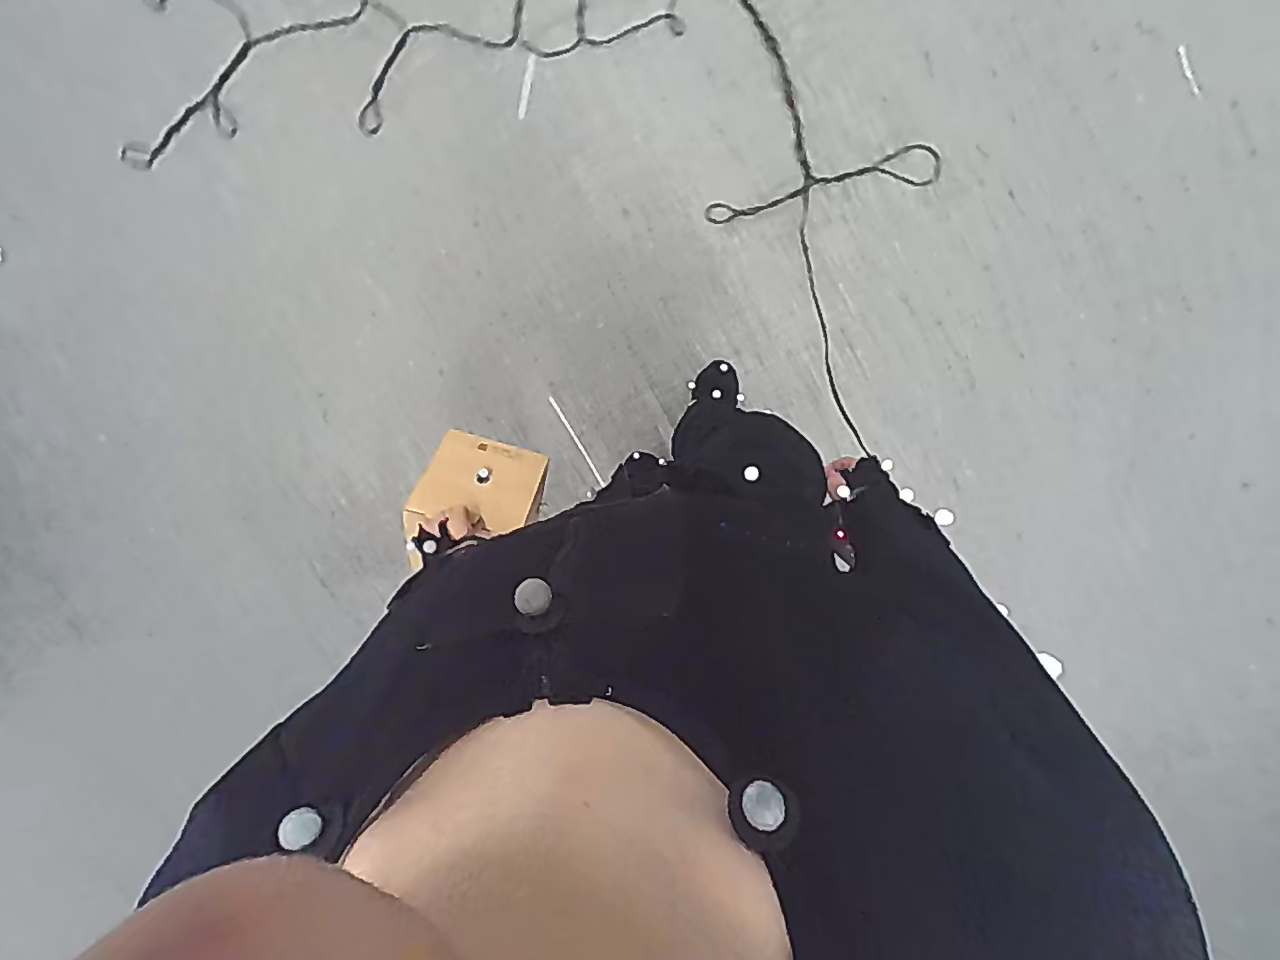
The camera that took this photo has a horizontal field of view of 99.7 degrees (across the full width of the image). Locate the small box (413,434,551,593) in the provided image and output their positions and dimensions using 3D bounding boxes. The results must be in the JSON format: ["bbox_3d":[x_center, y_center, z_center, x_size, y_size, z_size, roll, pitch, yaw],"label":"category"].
[{"bbox_3d":[-0.247,0.052,0.872,0.168,0.176,0.179,16,138,-4],"label":"small box"}]
